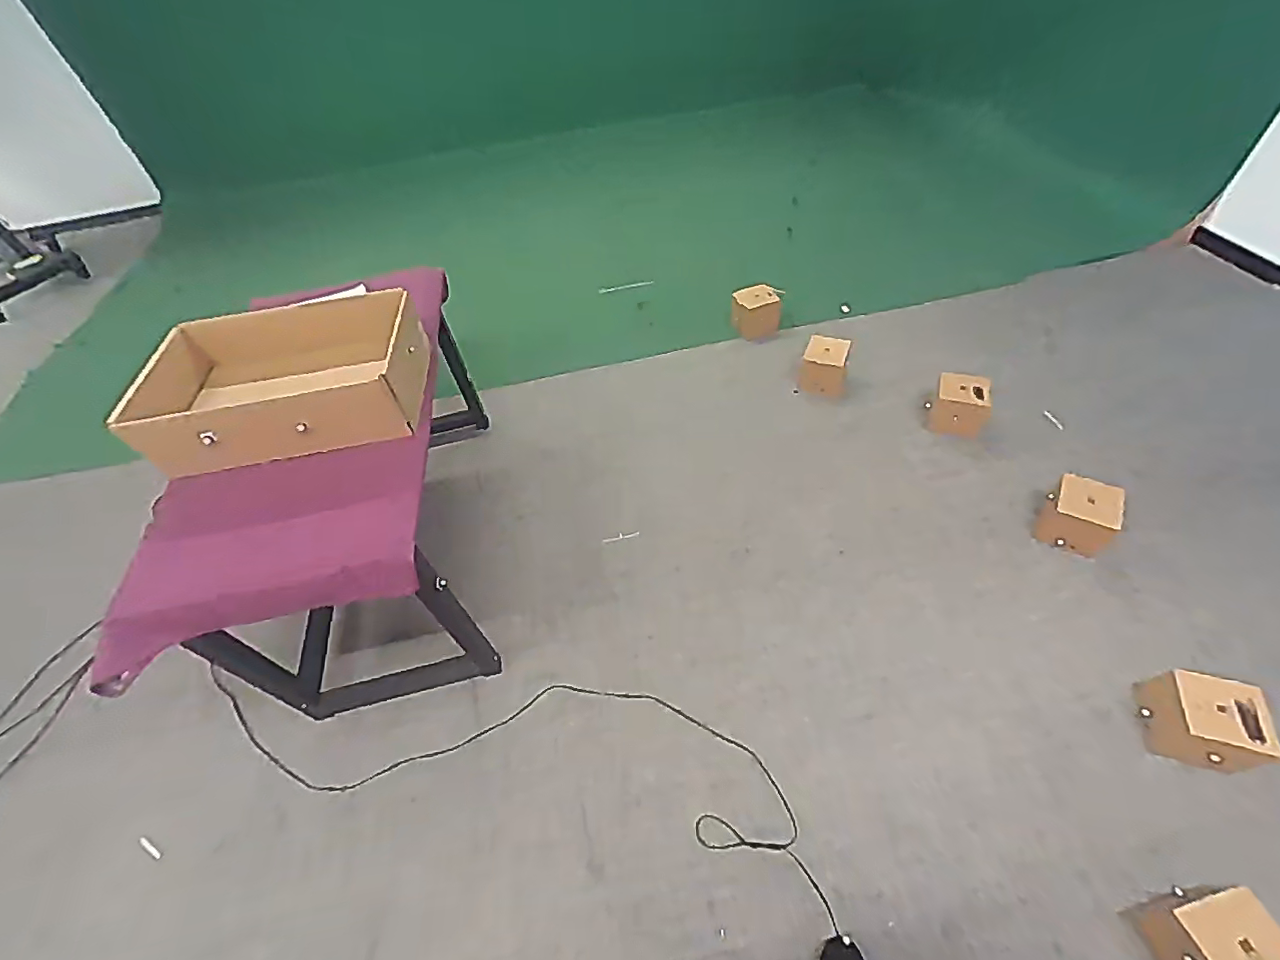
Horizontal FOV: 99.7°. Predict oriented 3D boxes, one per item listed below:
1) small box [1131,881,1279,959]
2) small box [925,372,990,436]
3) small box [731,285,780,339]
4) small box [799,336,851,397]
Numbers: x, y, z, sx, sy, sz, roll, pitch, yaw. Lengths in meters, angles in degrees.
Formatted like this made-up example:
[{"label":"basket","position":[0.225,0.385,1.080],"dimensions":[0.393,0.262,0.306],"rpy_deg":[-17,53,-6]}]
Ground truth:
[{"label":"small box","position":[1.160,0.937,1.081],"dimensions":[0.168,0.176,0.179],"rpy_deg":[-15,51,-4]},{"label":"small box","position":[1.231,-0.291,2.097],"dimensions":[0.179,0.176,0.168],"rpy_deg":[13,53,18]},{"label":"small box","position":[0.557,-0.810,2.619],"dimensions":[0.179,0.176,0.168],"rpy_deg":[-20,51,-9]},{"label":"small box","position":[0.791,-0.489,2.322],"dimensions":[0.168,0.176,0.179],"rpy_deg":[16,56,20]}]
